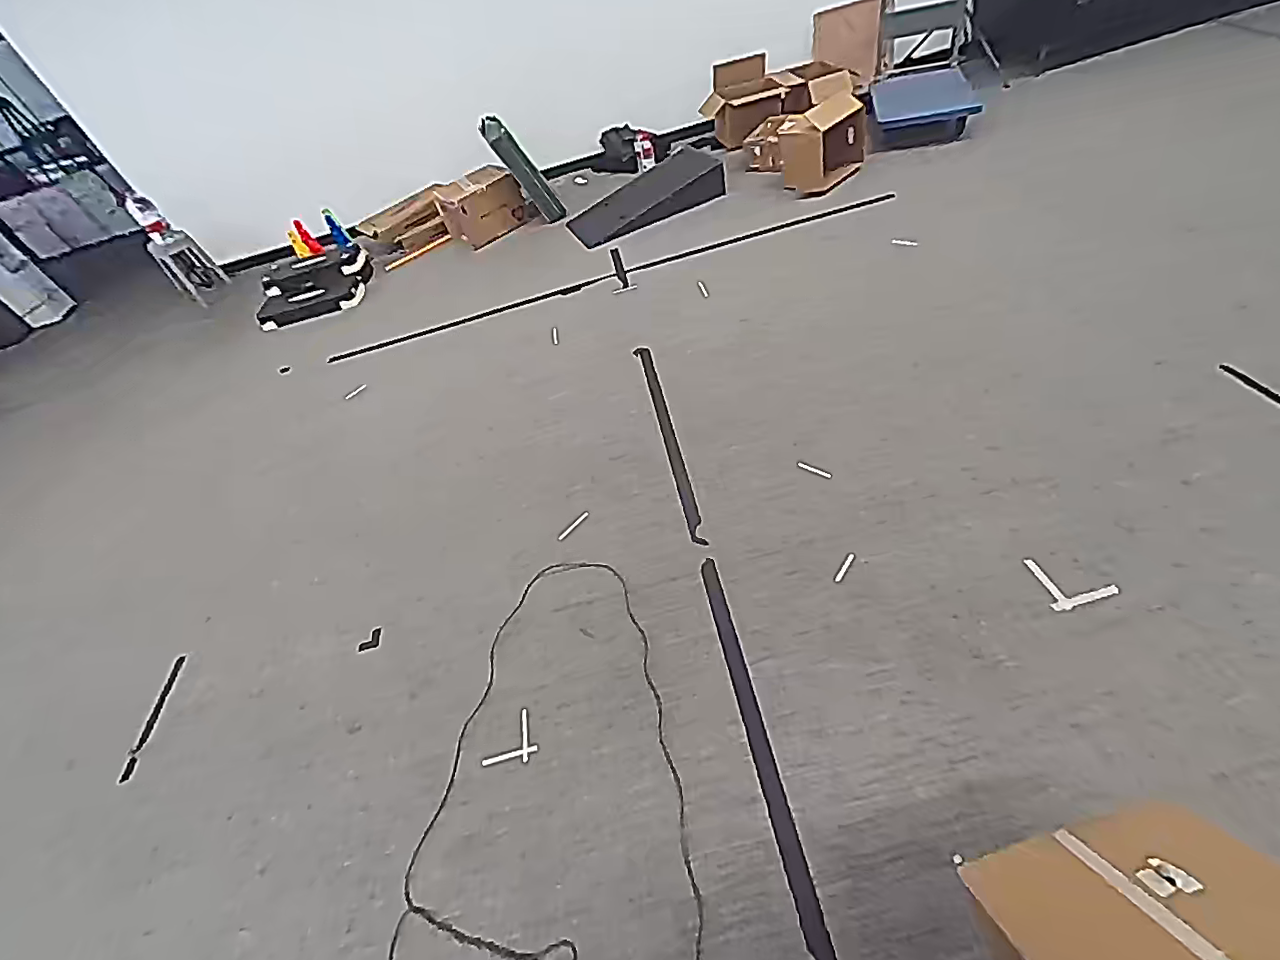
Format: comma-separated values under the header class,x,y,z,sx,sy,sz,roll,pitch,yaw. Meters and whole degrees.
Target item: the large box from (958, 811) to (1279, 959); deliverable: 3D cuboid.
class,x,y,z,sx,sy,sz,roll,pitch,yaw
large box,0.644,0.647,0.571,0.320,0.408,0.320,-20,82,2
